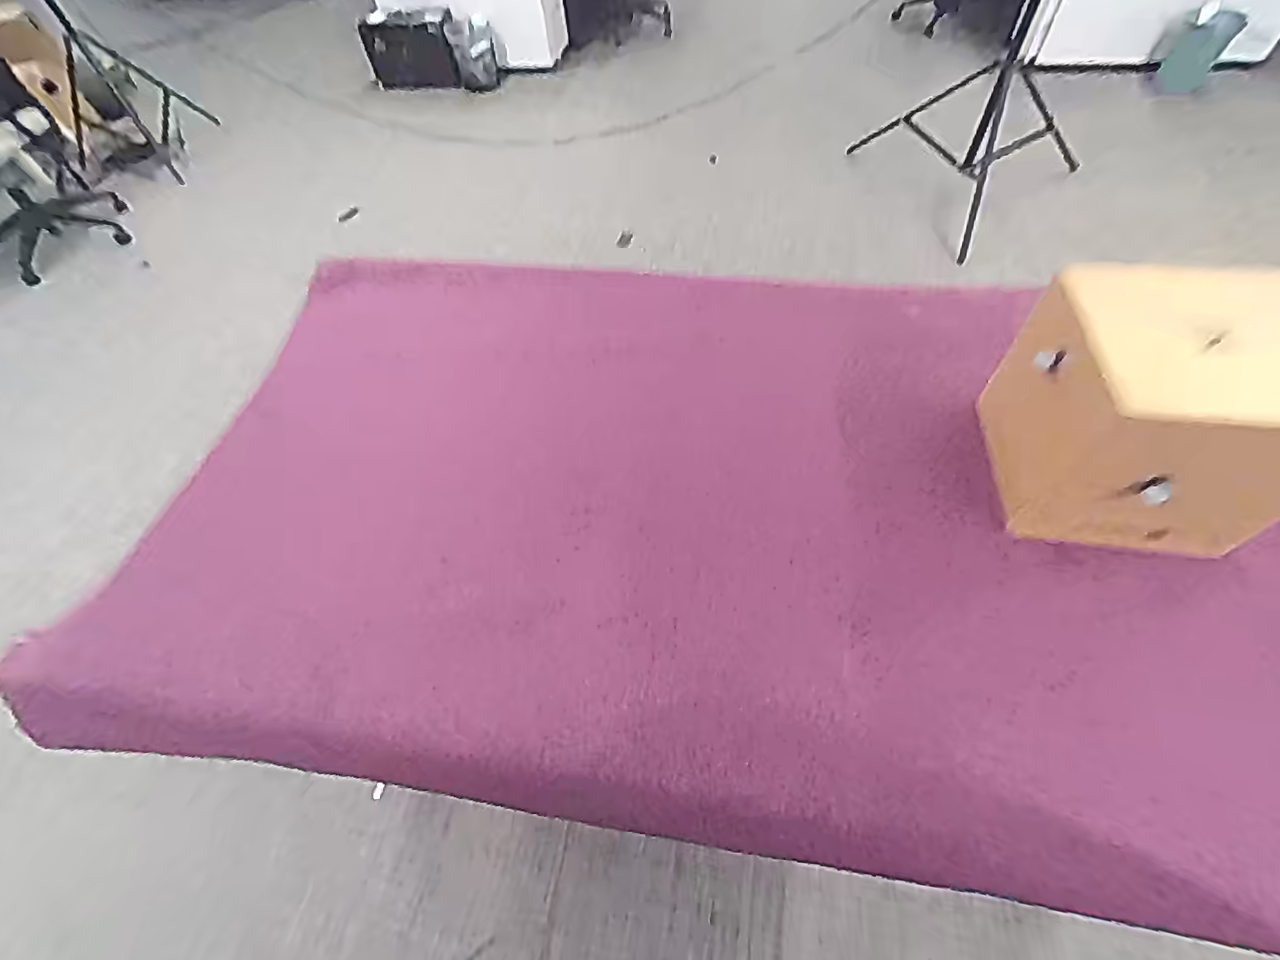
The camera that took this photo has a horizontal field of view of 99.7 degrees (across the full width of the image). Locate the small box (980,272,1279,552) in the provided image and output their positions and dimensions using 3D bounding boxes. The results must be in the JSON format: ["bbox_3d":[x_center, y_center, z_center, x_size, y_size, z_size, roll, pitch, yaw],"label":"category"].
[{"bbox_3d":[0.427,-0.055,0.469,0.168,0.176,0.179,6,54,10],"label":"small box"}]
